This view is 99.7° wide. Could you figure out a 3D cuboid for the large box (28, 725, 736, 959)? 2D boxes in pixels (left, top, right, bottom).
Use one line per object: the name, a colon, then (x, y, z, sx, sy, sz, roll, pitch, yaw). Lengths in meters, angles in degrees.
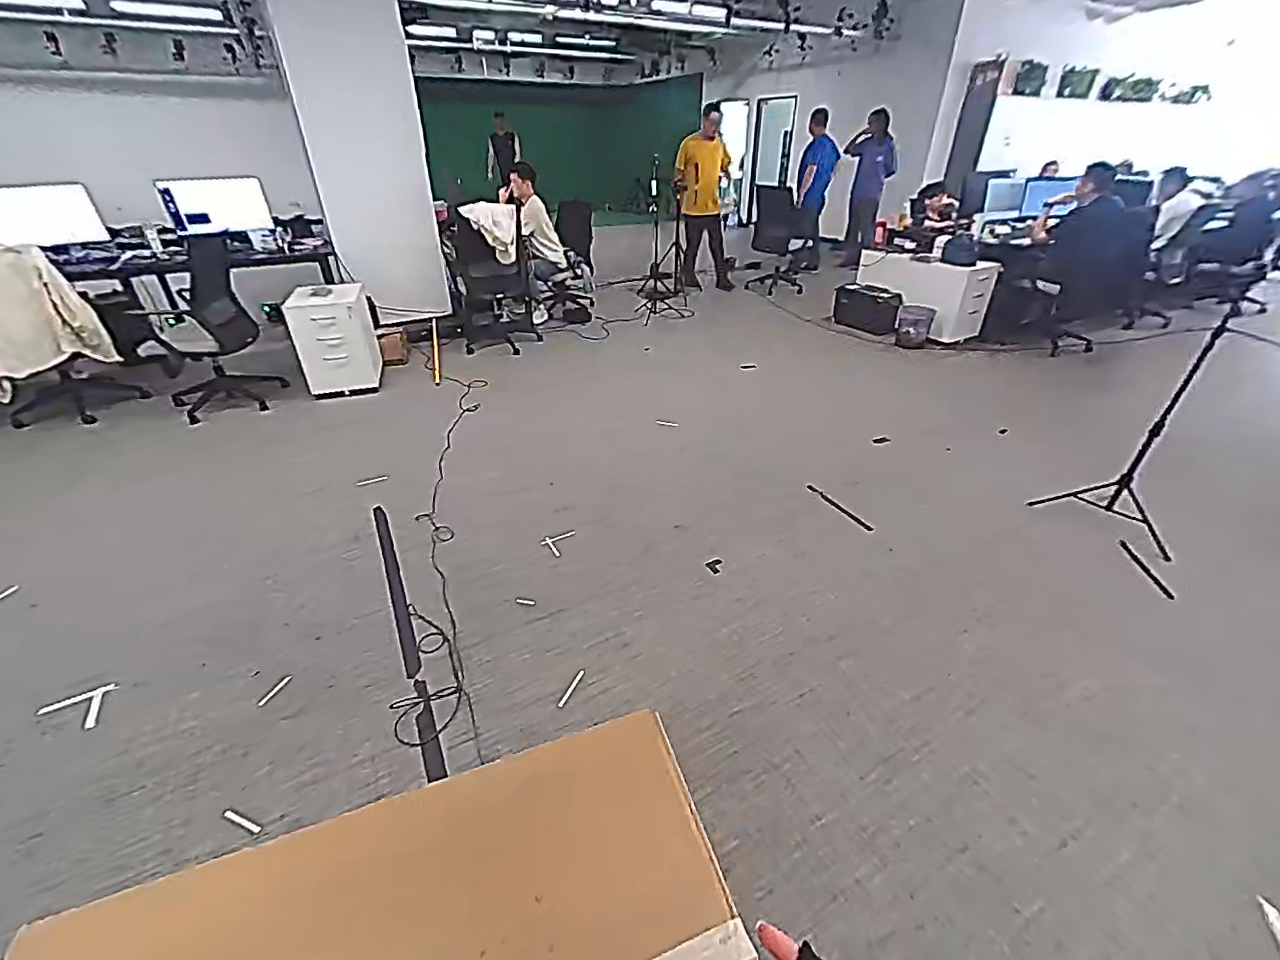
large box: (-0.131, 0.445, 0.372, 0.408, 0.320, 0.320, -12, 42, -17)
